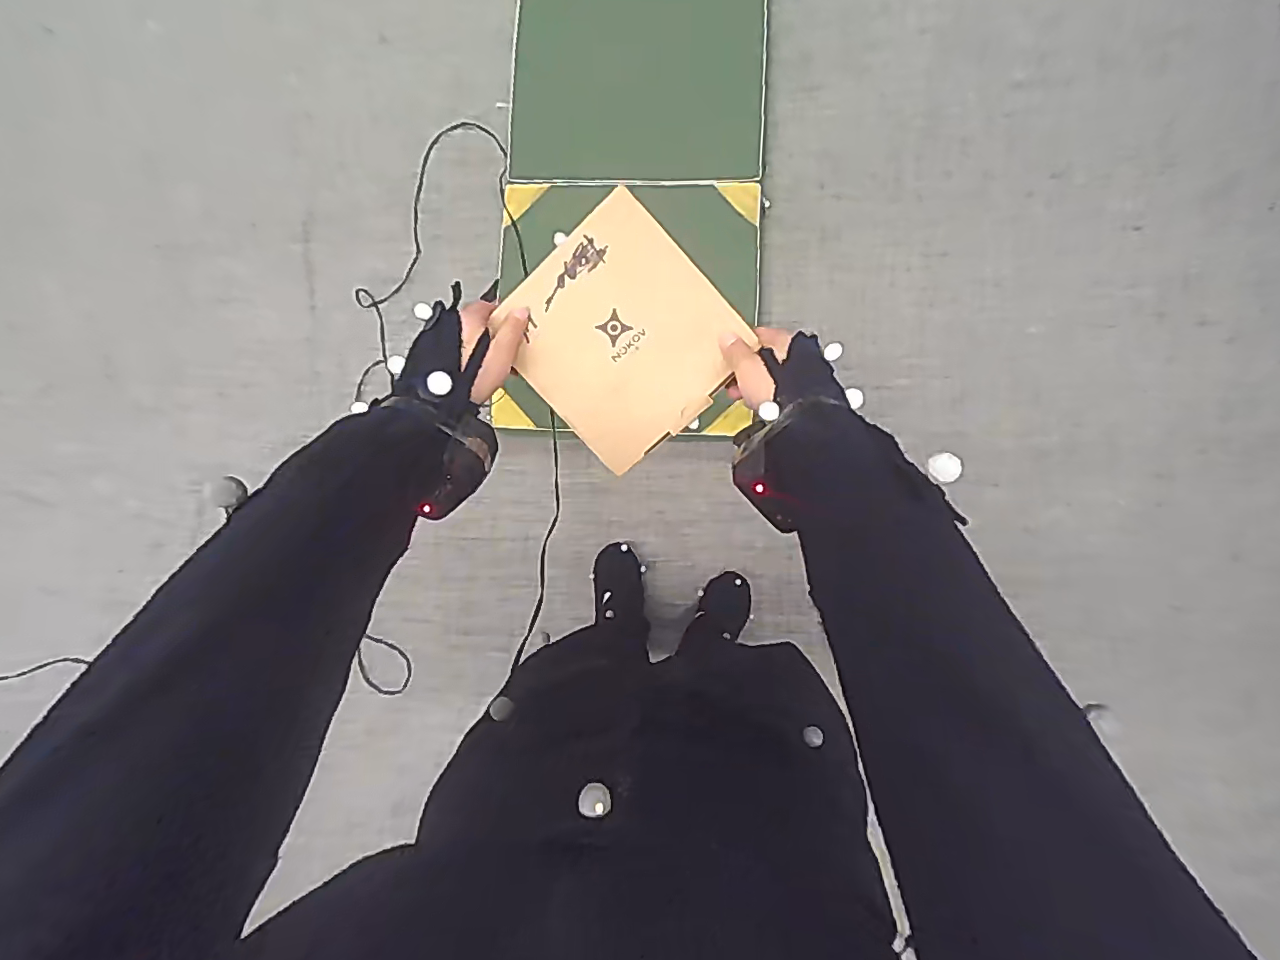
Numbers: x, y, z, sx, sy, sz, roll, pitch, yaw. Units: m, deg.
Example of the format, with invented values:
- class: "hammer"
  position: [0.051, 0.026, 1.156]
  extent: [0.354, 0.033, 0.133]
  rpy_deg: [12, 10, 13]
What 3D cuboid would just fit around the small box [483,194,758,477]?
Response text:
- class: "small box"
  position: [-0.013, -0.129, 0.529]
  extent: [0.168, 0.176, 0.179]
  rpy_deg: [-42, 95, 6]
